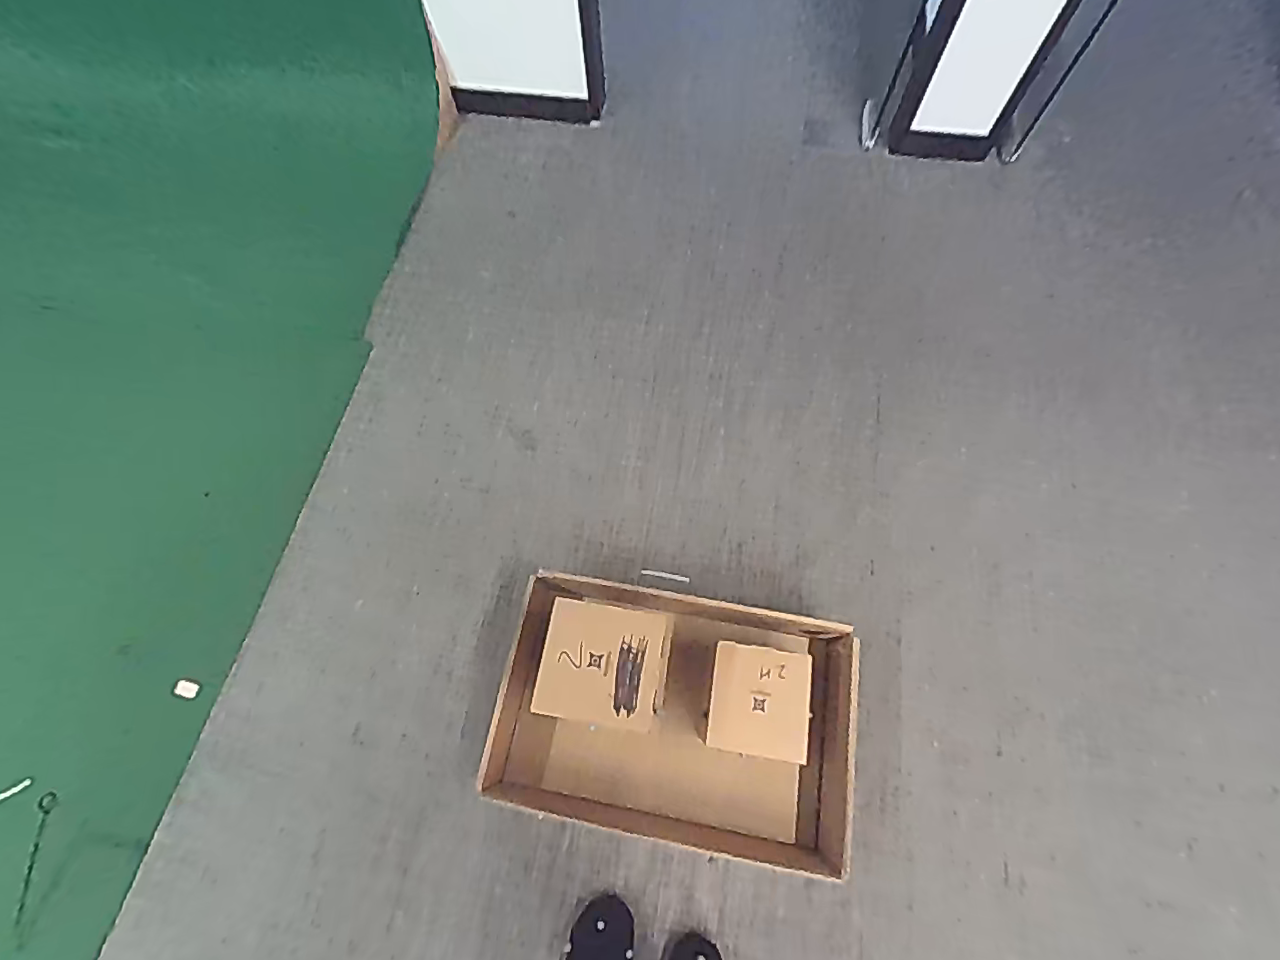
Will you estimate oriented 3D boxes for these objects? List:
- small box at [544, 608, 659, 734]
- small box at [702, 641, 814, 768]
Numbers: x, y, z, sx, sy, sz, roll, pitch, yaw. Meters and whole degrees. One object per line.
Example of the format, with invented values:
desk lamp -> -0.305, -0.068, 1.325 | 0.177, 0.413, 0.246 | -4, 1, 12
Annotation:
small box -> -0.062, 0.356, 1.012 | 0.168, 0.176, 0.179 | 13, 69, 6
small box -> 0.207, 0.402, 0.983 | 0.168, 0.176, 0.179 | 9, 70, 5
